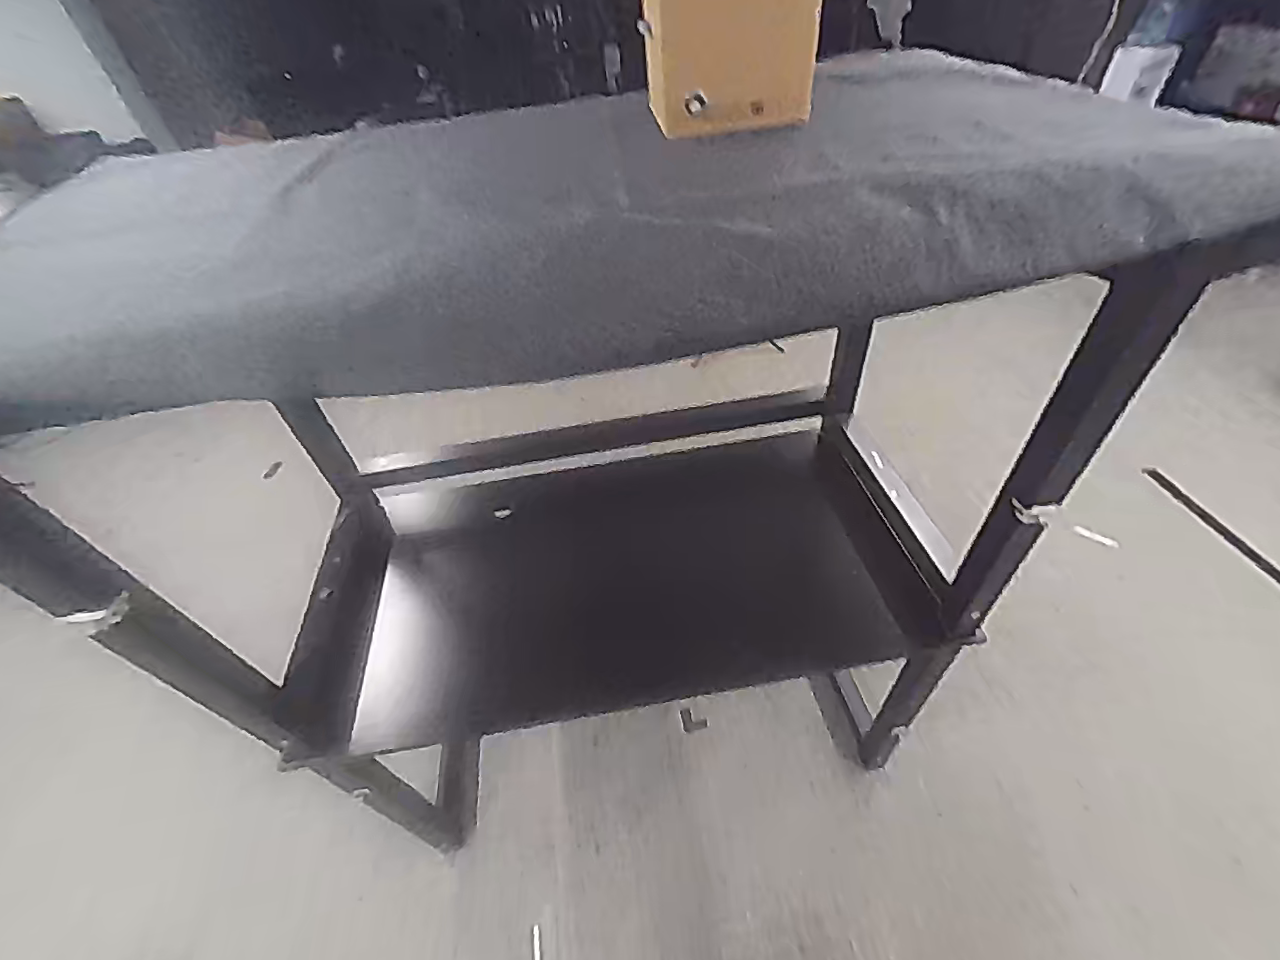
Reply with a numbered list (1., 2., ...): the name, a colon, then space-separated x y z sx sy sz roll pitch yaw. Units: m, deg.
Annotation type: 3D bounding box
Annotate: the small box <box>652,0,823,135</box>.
1. small box: 0.105 -0.513 0.622 0.168 0.176 0.179 -7 44 0
